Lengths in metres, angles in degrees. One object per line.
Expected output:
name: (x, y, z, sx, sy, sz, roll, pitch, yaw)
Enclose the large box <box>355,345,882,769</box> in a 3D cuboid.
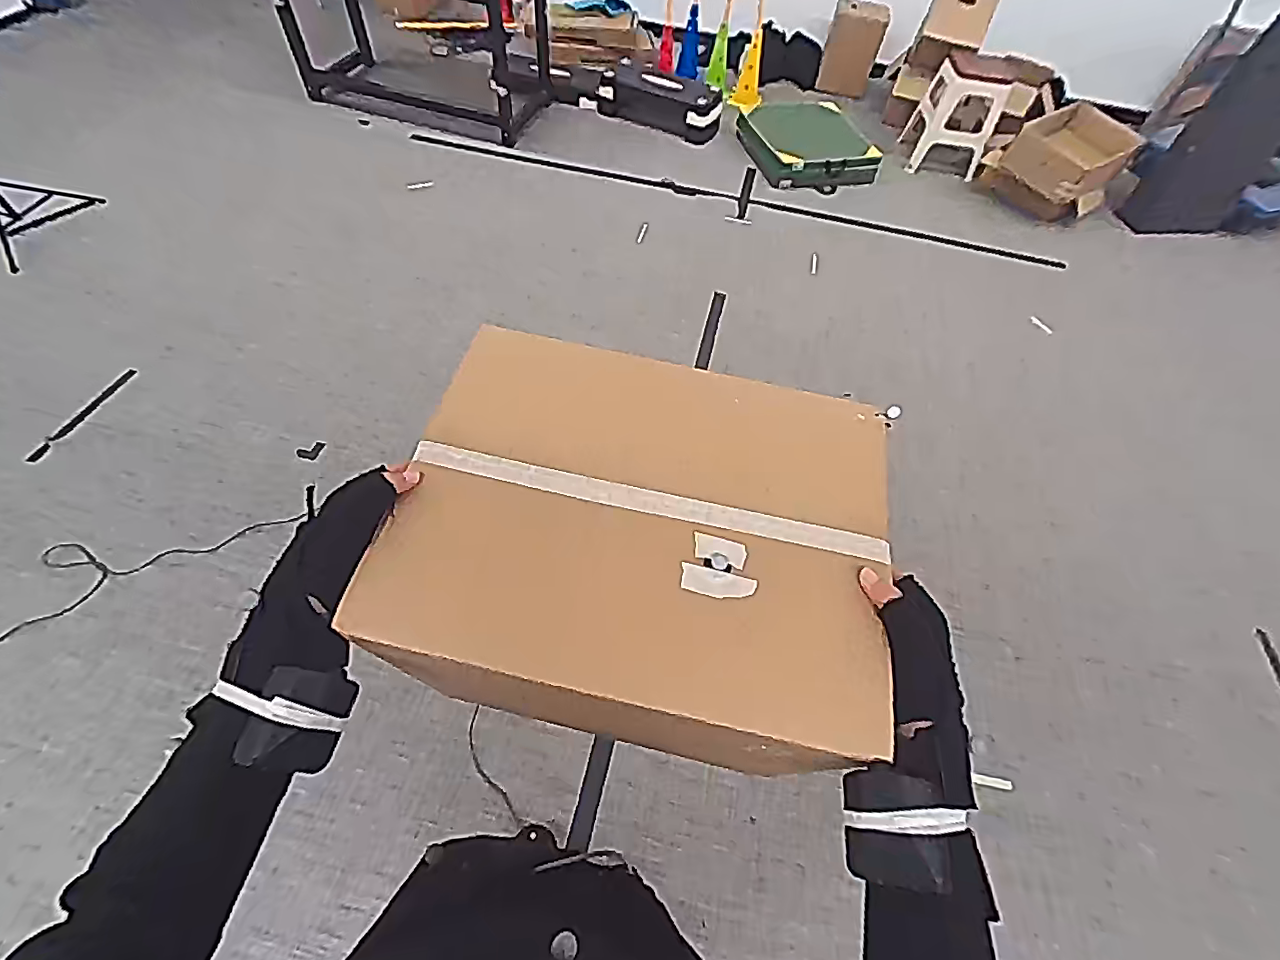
large box: (-0.004, 0.102, 0.595, 0.408, 0.320, 0.320, 12, 61, 3)
